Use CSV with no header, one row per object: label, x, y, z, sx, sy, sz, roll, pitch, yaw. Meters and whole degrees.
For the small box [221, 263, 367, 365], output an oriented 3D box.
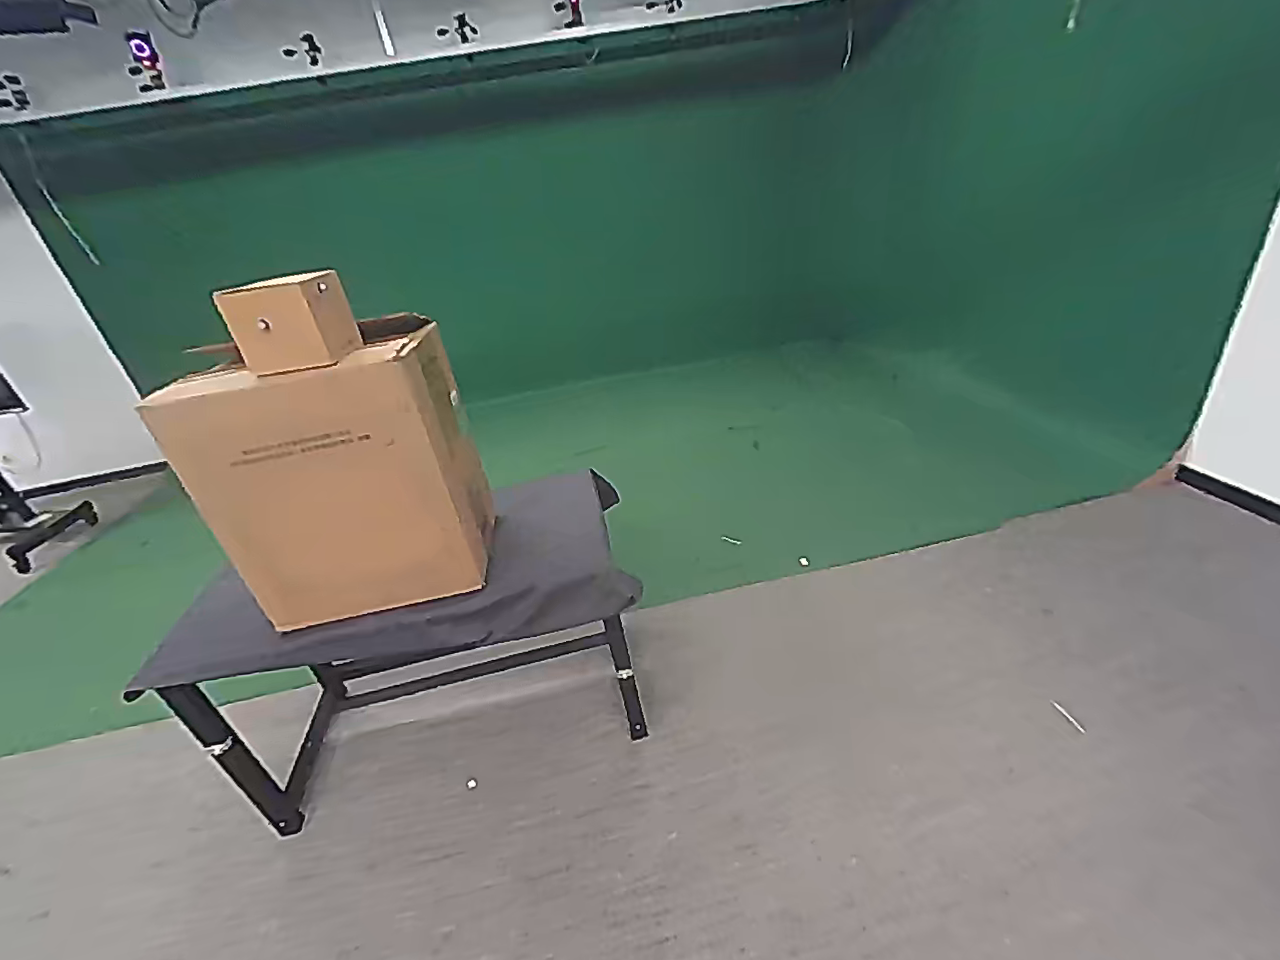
small box,-0.727,-0.354,1.159,0.179,0.176,0.168,-8,30,2
